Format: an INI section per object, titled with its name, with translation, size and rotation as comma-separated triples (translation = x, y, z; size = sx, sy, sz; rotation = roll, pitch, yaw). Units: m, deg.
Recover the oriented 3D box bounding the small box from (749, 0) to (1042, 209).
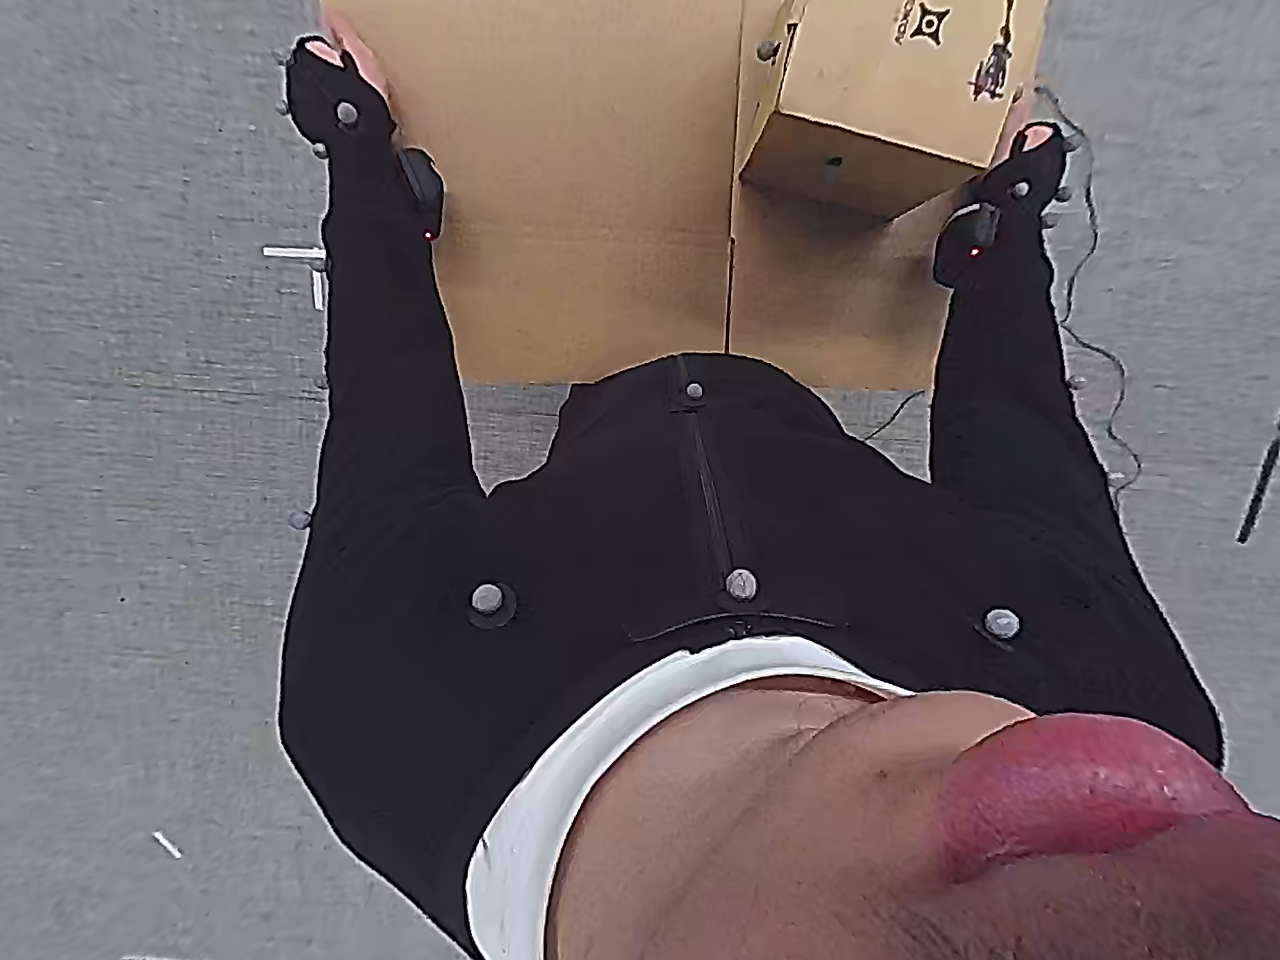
[small box]
translation = 0.209, -0.363, 0.482
size = 0.179, 0.176, 0.168
rotation = 14, 103, -1
